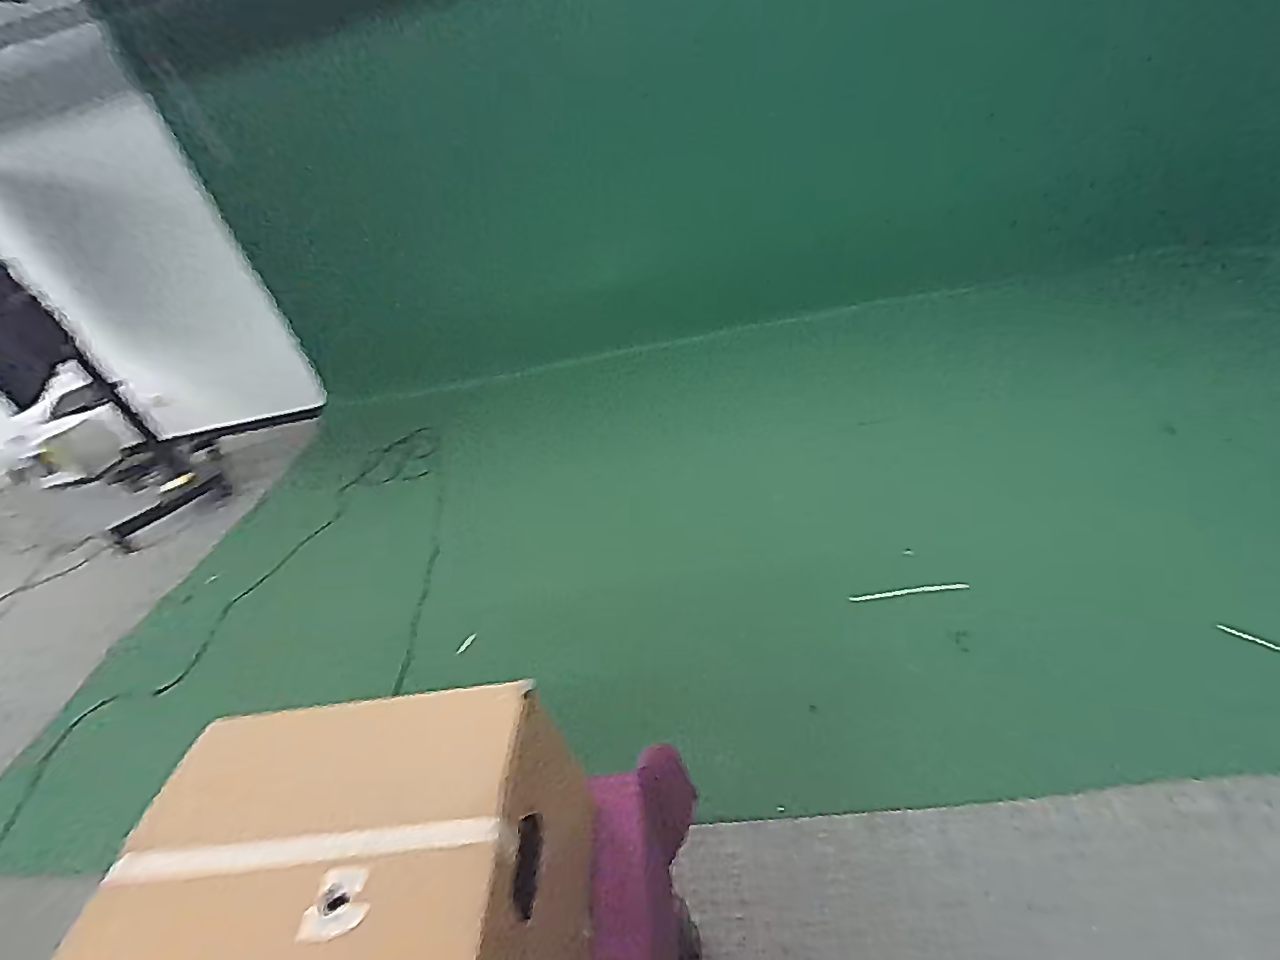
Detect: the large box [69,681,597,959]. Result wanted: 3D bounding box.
[{"bbox_3d":[-0.284,0.472,0.607,0.408,0.320,0.320,-9,36,6],"label":"large box"}]
